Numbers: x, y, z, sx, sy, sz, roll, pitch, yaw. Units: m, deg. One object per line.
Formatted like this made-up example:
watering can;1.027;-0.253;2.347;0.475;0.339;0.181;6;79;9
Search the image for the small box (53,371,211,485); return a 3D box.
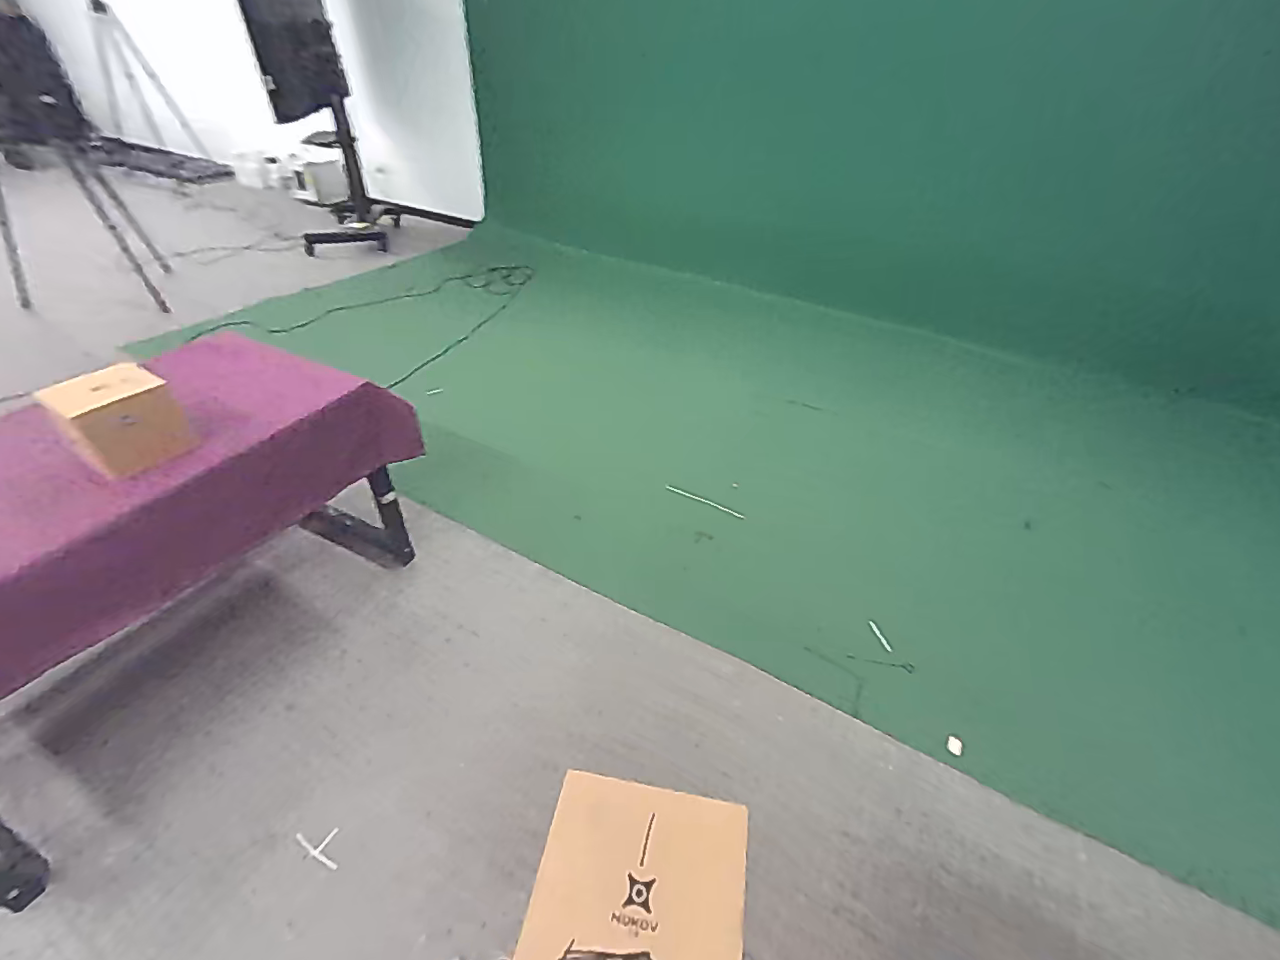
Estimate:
small box;-1.121;-0.115;1.208;0.168;0.176;0.179;23;43;23
